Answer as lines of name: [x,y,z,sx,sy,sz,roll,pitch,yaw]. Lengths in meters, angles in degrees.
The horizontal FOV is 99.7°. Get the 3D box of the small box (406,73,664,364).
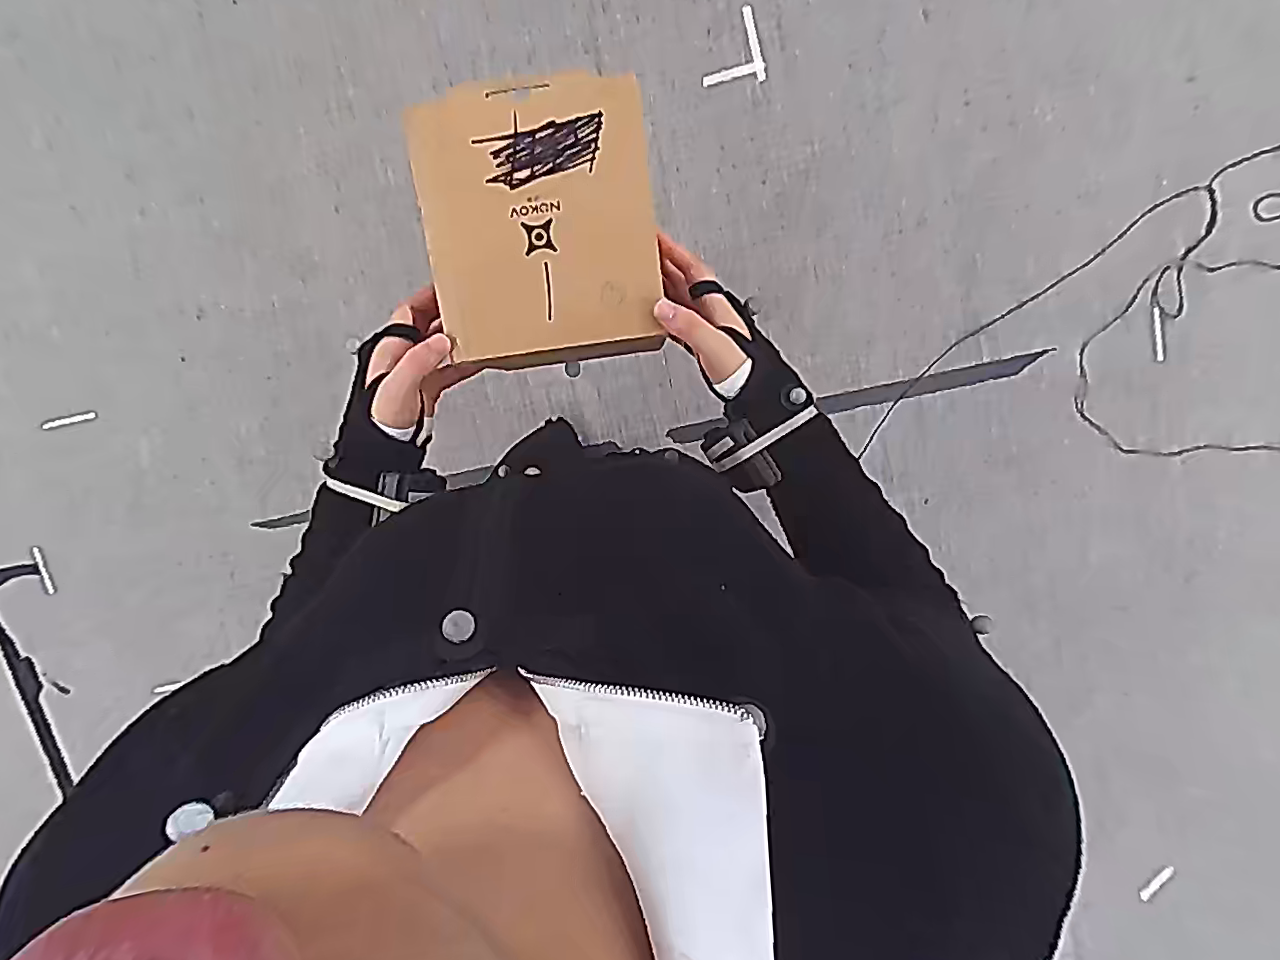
small box: [-0.073,-0.200,0.466,0.168,0.176,0.179,-7,100,2]
